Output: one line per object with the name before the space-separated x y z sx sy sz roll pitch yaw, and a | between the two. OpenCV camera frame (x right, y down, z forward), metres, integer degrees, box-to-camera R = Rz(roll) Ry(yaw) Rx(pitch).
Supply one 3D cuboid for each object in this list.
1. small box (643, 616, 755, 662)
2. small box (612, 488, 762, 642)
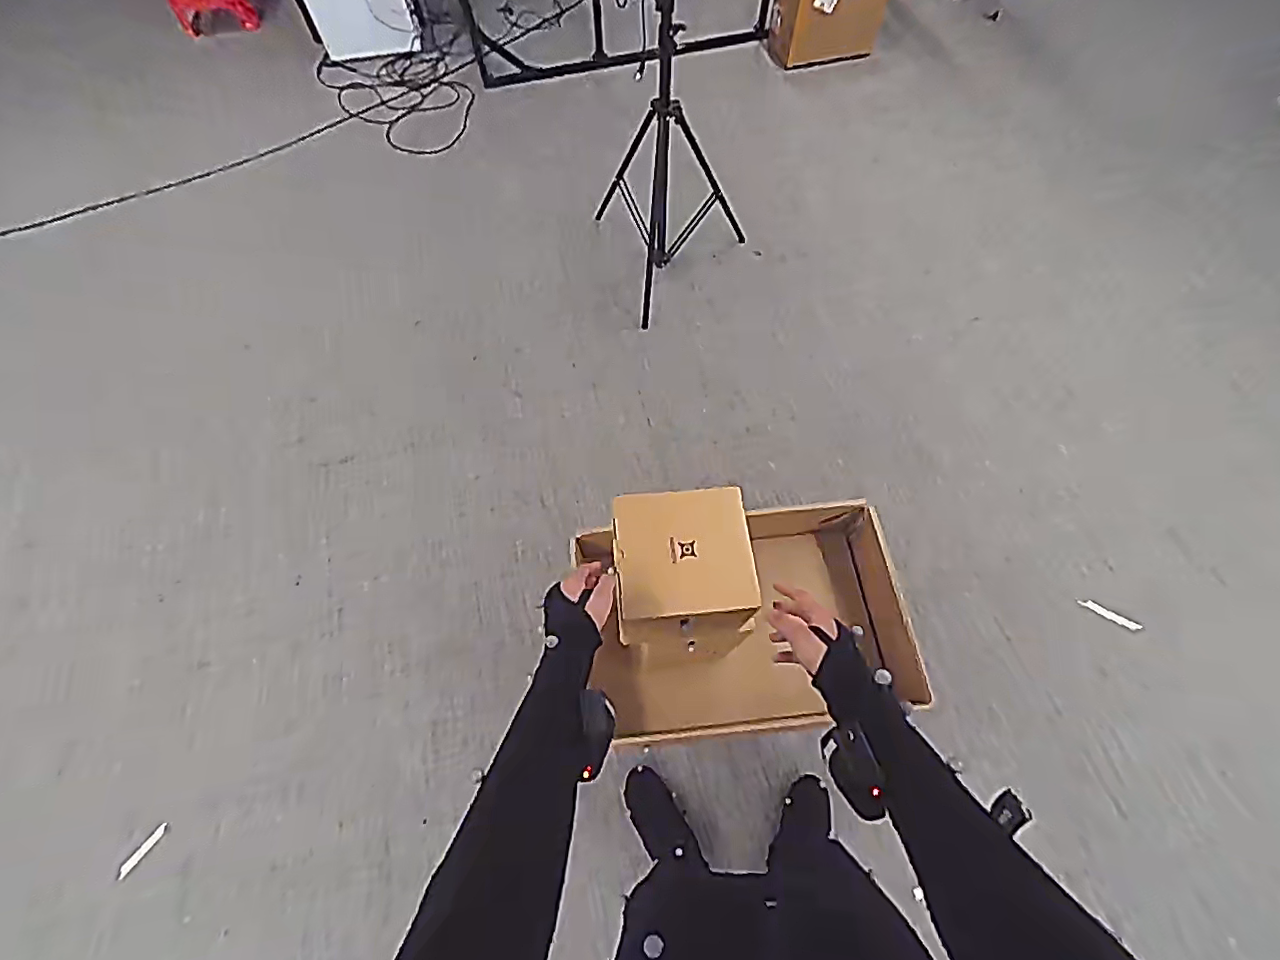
small box | 0.079 0.193 0.905 0.168 0.176 0.179 -8 64 -4
small box | 0.054 0.125 0.757 0.179 0.176 0.168 -5 64 -3
